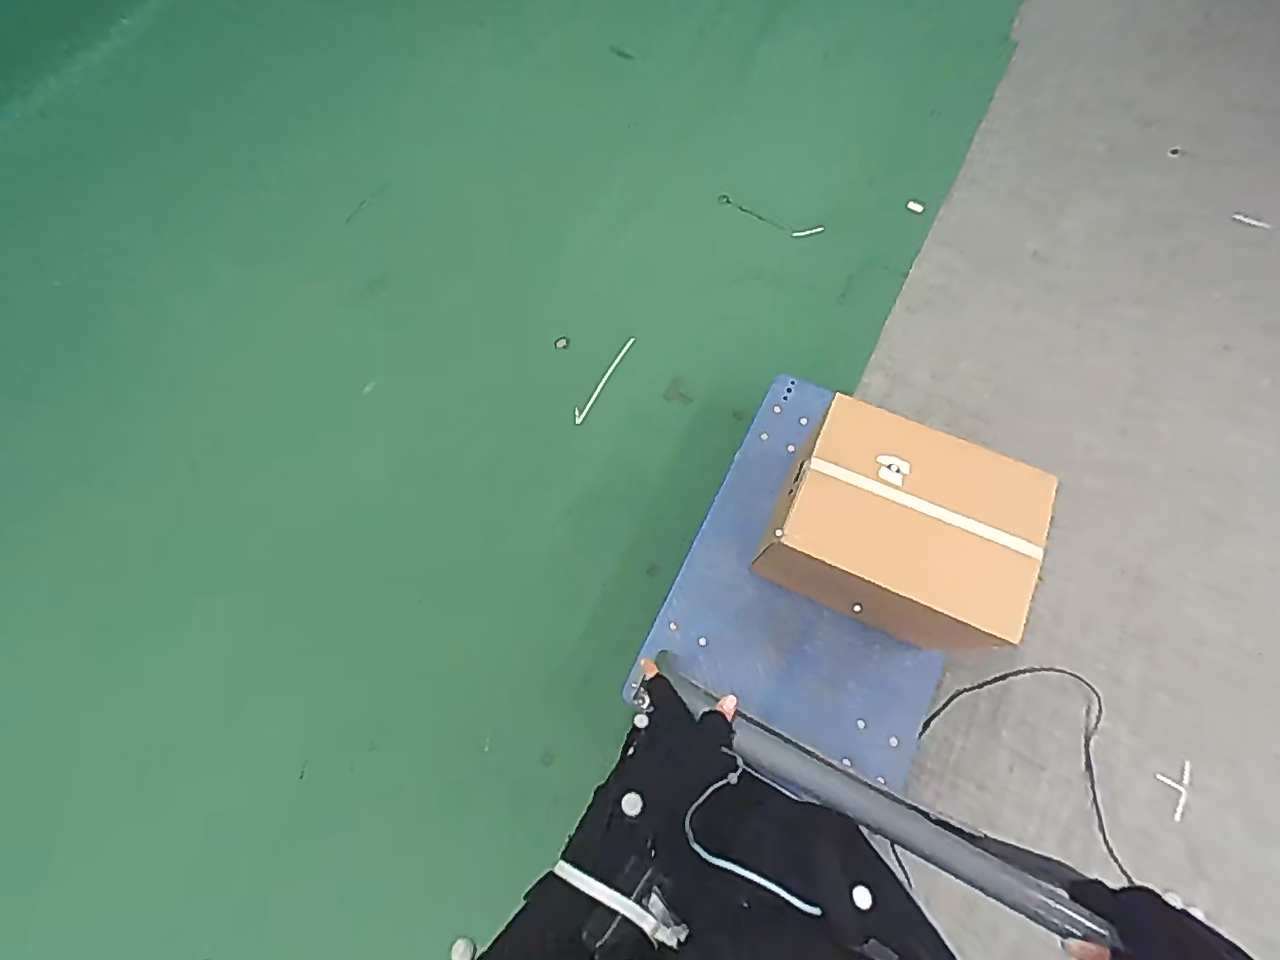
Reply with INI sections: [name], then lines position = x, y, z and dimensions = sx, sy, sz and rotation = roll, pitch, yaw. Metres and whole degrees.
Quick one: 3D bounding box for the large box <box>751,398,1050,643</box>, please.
[large box]
position = 0.479, 0.097, 1.070
dimensions = 0.408, 0.320, 0.320
rotation = 23, 73, 11
